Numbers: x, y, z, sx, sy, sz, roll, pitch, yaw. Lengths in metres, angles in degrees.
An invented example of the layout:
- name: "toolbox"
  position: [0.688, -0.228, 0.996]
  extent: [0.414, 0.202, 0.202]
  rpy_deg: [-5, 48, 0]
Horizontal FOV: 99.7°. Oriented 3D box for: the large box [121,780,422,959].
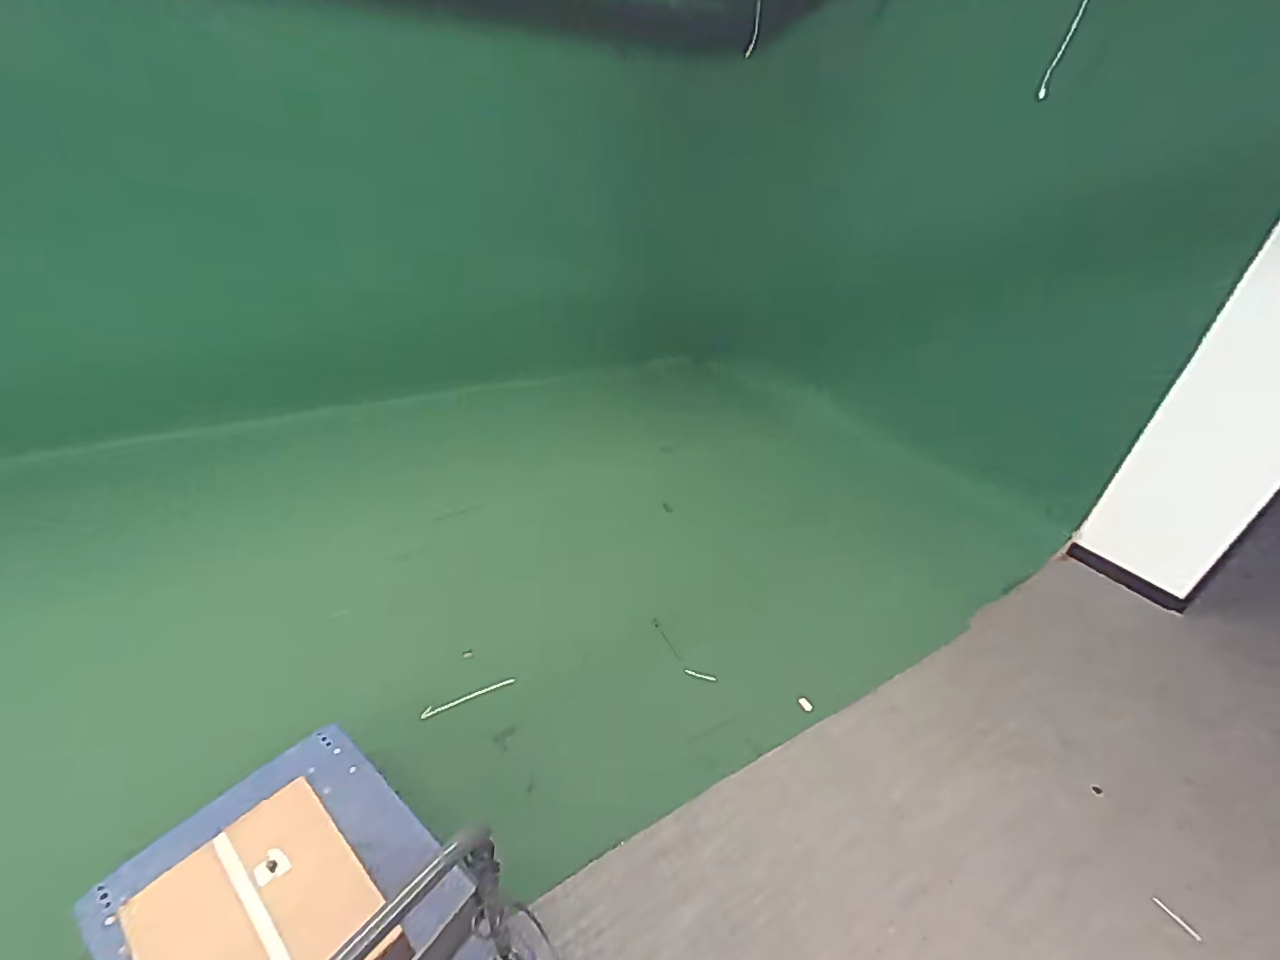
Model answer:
- name: "large box"
  position: [-0.669, 0.892, 1.028]
  extent: [0.408, 0.320, 0.320]
  rpy_deg: [27, 40, 32]
